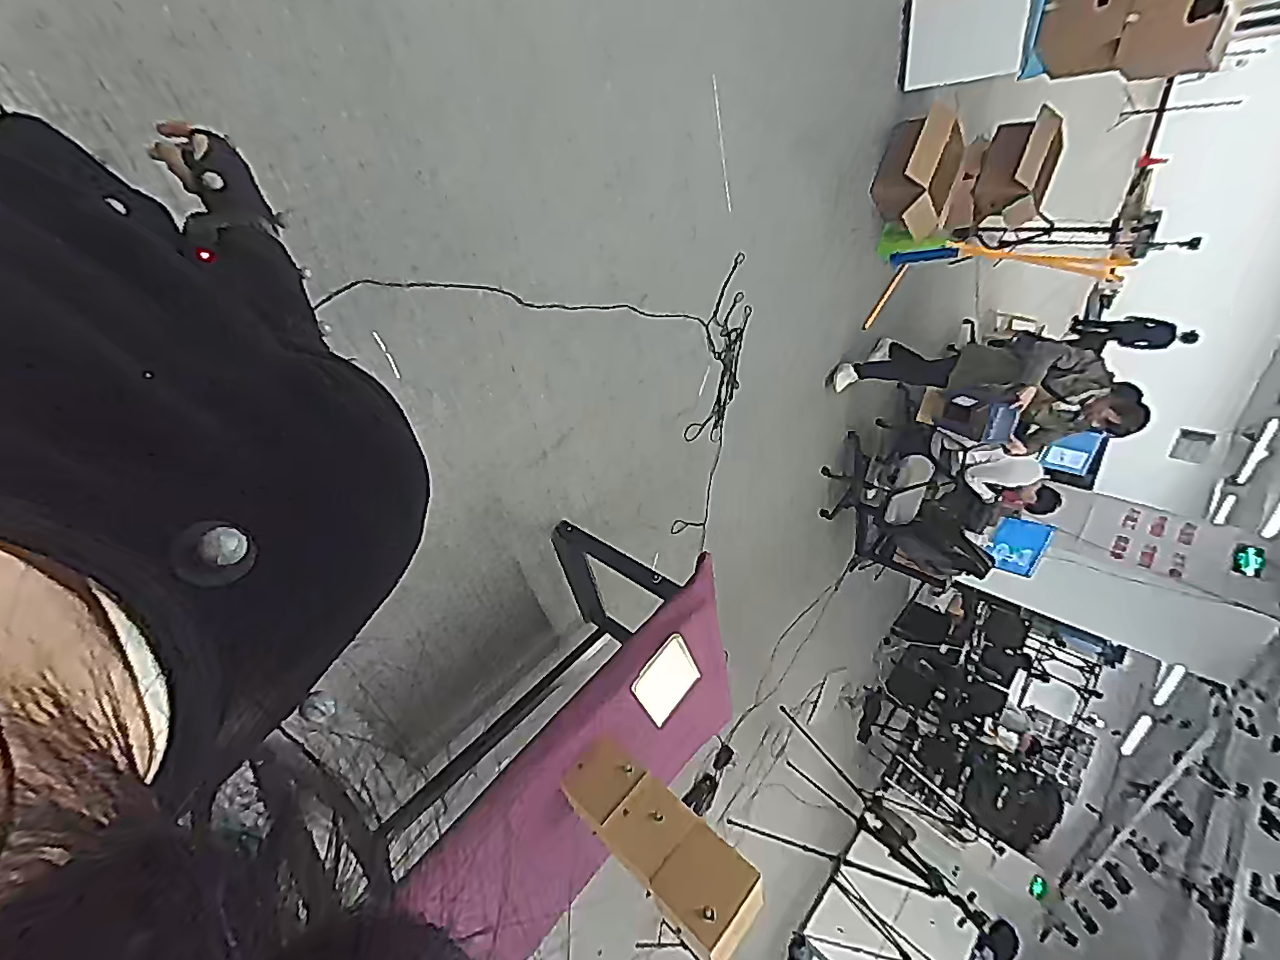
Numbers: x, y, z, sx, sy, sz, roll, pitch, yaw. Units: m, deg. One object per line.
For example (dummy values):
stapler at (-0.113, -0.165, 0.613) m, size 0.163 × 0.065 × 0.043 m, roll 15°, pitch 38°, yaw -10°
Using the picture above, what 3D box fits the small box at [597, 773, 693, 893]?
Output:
small box at (0.019, 0.840, 1.286) m, size 0.168 × 0.176 × 0.179 m, roll -38°, pitch 134°, yaw -31°

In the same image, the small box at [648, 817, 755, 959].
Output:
small box at (0.130, 0.891, 1.175) m, size 0.179 × 0.176 × 0.168 m, roll -36°, pitch 133°, yaw -33°
